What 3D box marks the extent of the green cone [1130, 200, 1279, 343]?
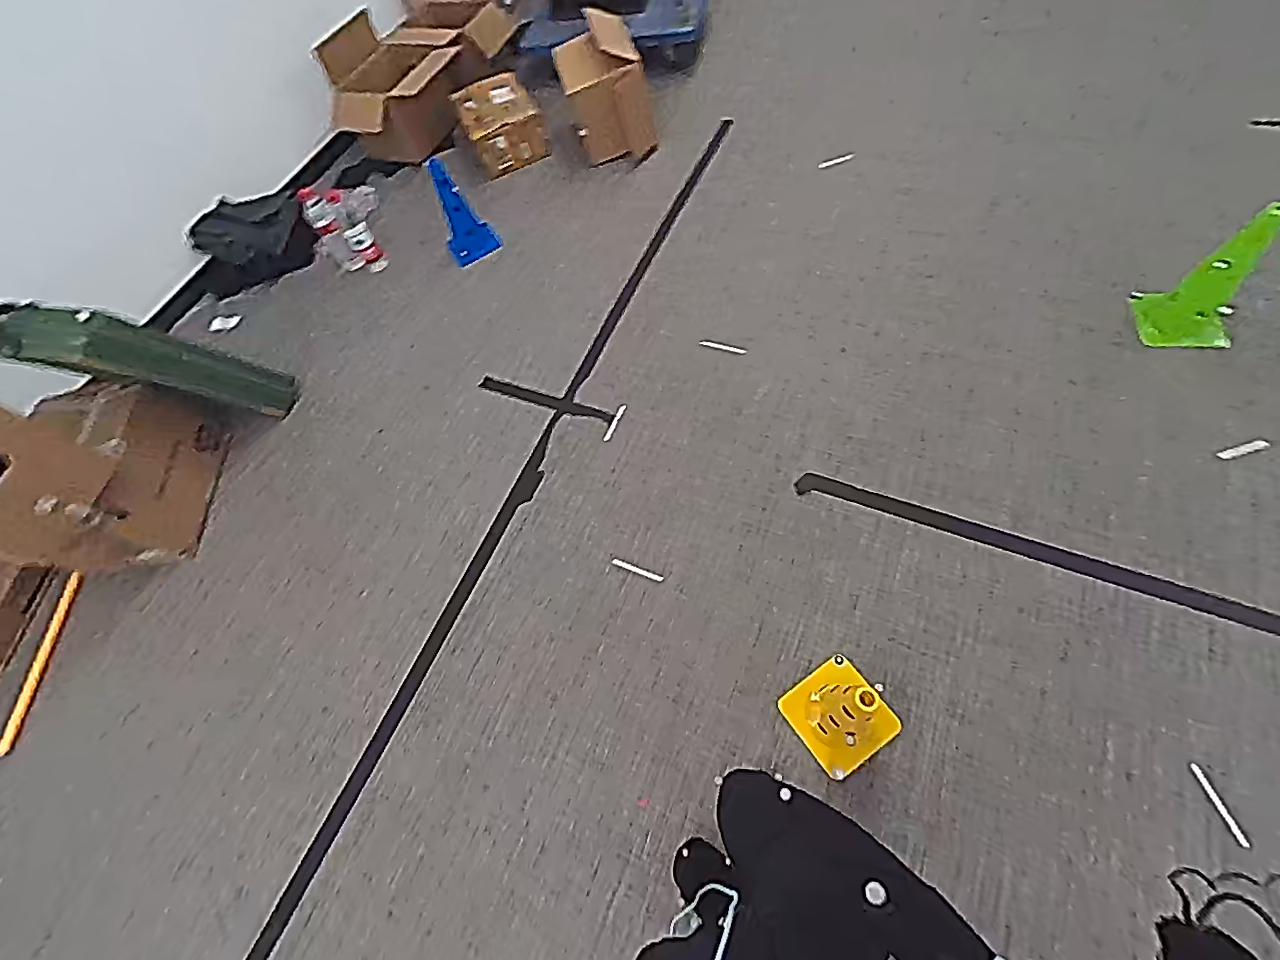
[{"bbox_3d":[1.502,-0.546,1.389,0.202,0.368,0.200,3,63,12],"label":"green cone"}]
